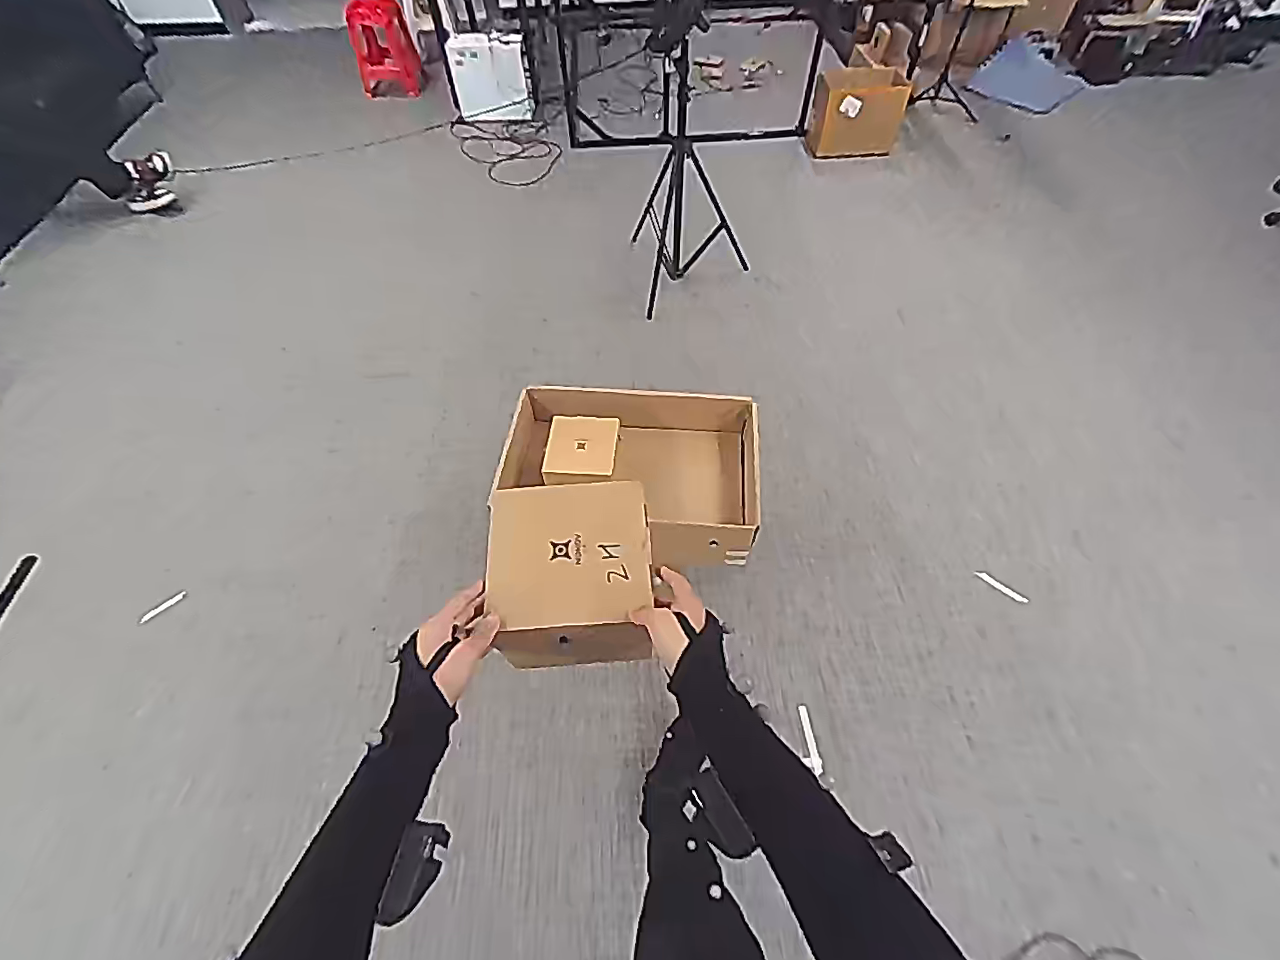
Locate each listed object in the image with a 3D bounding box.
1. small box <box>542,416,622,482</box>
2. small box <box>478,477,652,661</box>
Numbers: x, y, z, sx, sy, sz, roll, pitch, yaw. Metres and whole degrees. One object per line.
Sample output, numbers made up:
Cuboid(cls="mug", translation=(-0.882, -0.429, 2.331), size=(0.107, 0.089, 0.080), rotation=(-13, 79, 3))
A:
Cuboid(cls="small box", translation=(-0.134, -0.037, 1.341), size=(0.168, 0.176, 0.179), rotation=(3, 54, 3))
Cuboid(cls="small box", translation=(-0.078, 0.112, 0.645), size=(0.179, 0.176, 0.168), rotation=(-3, 60, -2))
